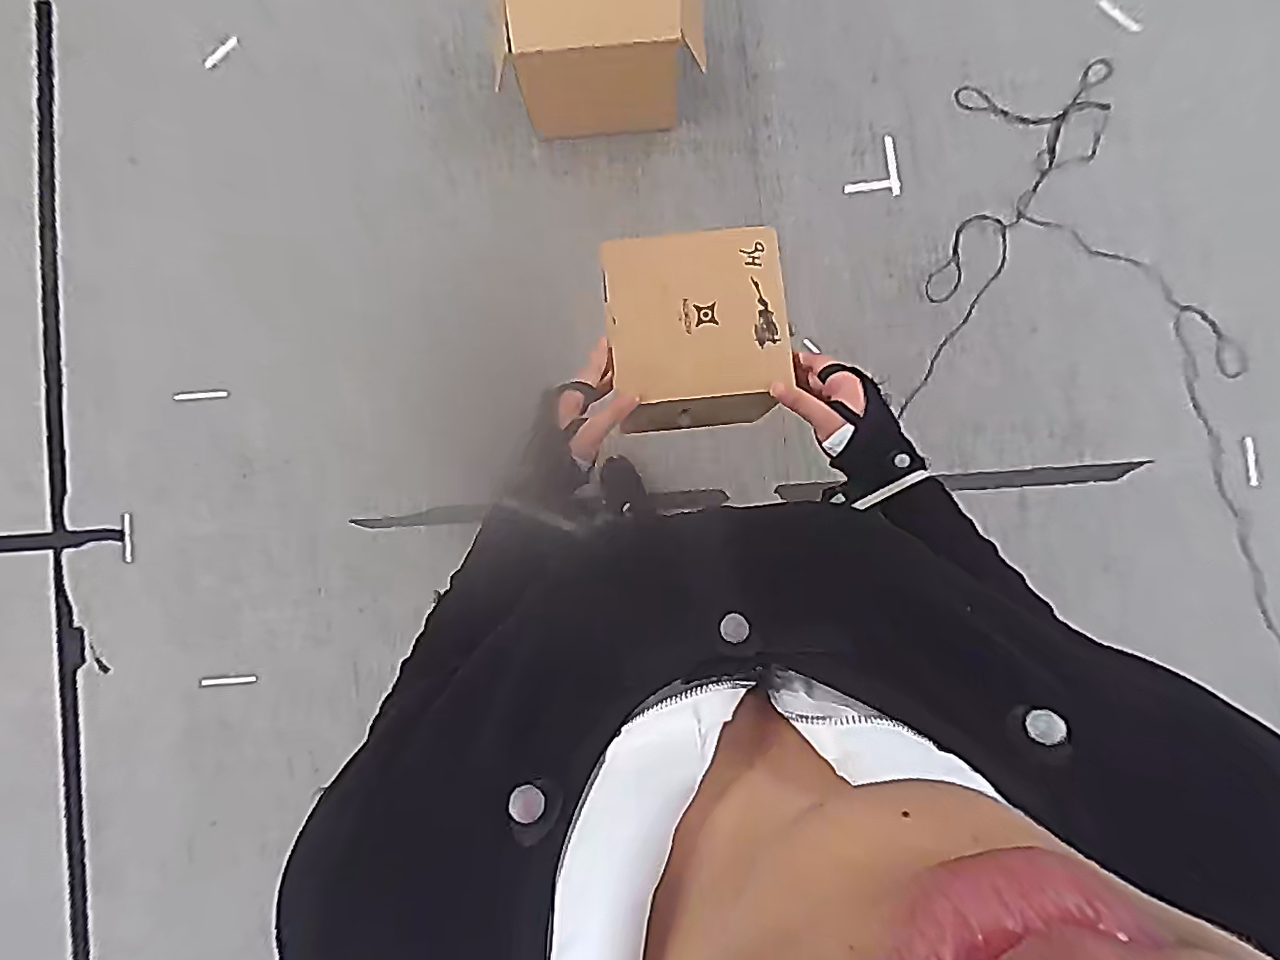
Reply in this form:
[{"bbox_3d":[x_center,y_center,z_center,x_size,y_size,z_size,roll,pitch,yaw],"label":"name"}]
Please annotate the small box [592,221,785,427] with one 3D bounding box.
[{"bbox_3d":[0.047,-0.159,0.604,0.179,0.176,0.168,-6,85,-1],"label":"small box"}]
